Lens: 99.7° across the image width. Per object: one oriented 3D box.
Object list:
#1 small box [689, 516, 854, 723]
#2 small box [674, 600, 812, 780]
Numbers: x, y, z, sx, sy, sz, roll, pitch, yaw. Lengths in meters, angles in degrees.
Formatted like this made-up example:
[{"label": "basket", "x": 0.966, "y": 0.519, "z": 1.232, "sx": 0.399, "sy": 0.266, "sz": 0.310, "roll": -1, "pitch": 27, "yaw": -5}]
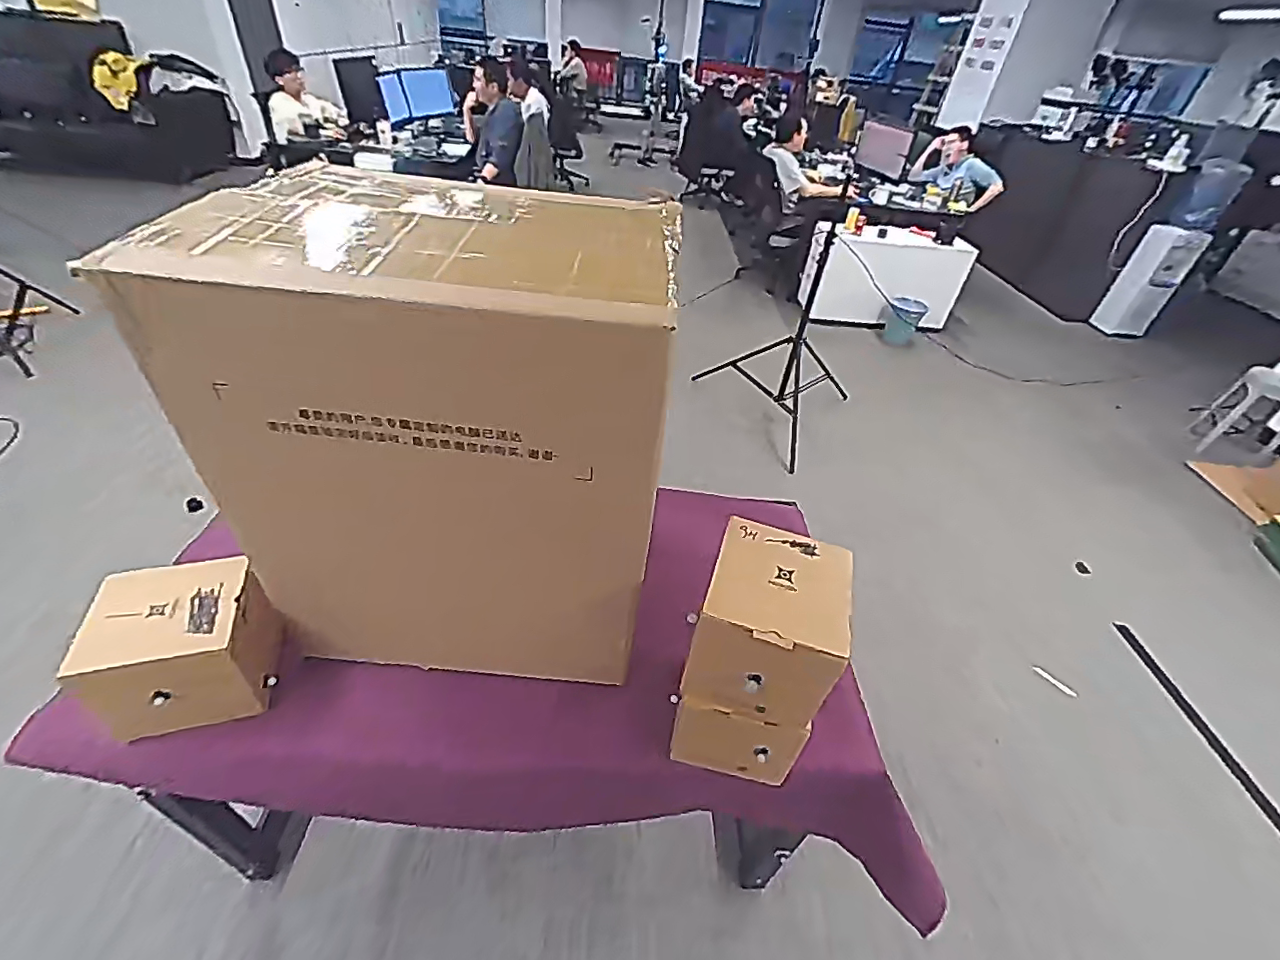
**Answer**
[{"label": "small box", "x": 0.167, "y": 0.182, "z": 0.707, "sx": 0.168, "sy": 0.176, "sz": 0.179, "roll": 16, "pitch": 41, "yaw": 11}, {"label": "small box", "x": 0.149, "y": 0.313, "z": 0.805, "sx": 0.168, "sy": 0.176, "sz": 0.179, "roll": 12, "pitch": 38, "yaw": 5}]
